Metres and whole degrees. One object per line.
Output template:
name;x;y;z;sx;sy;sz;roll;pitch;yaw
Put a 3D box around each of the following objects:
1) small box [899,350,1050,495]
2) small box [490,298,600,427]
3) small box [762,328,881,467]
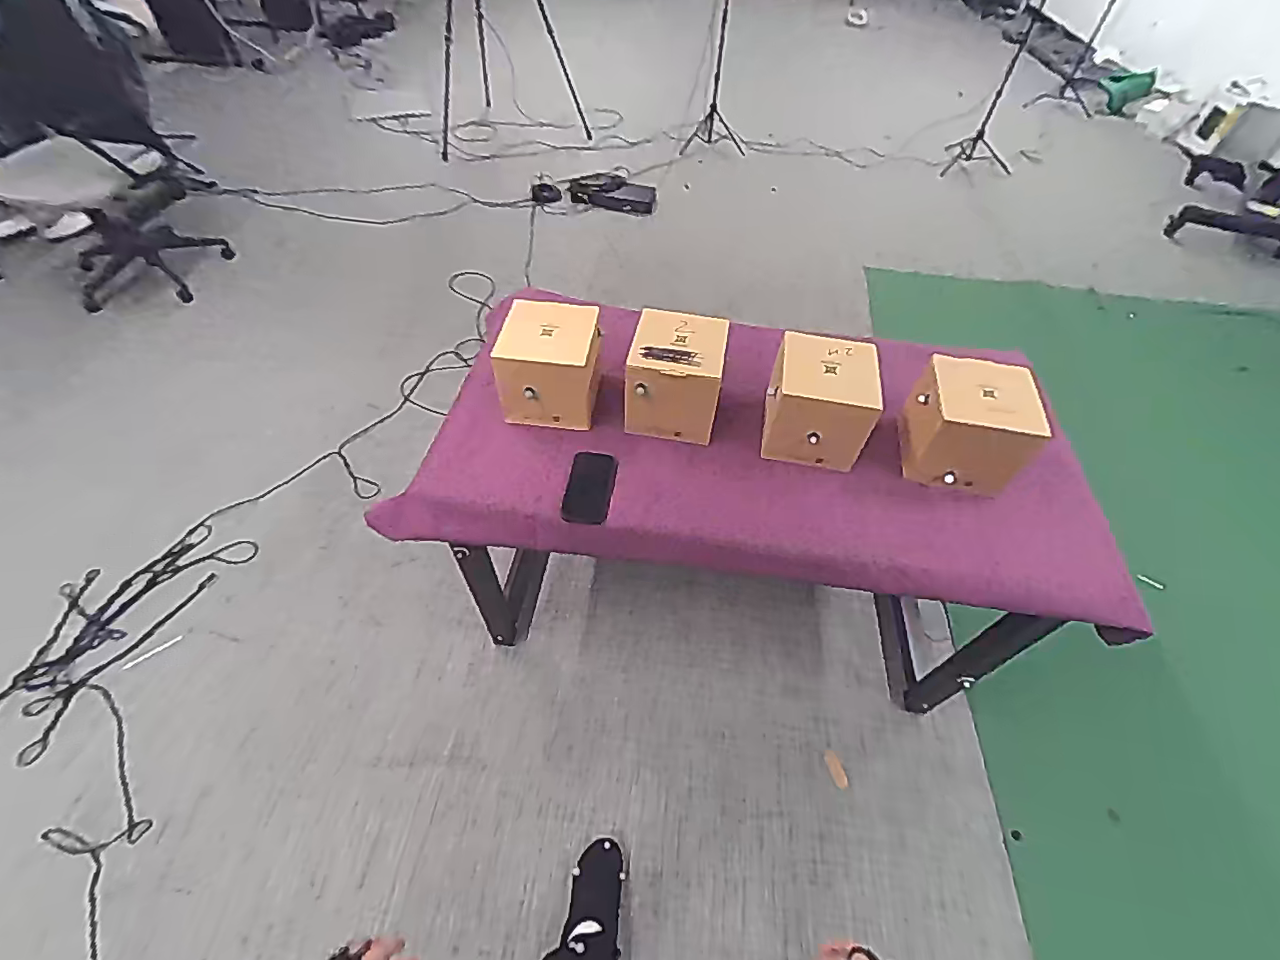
small box;0.581;-0.102;0.970;0.168;0.176;0.179;11;52;7
small box;-0.169;-0.220;1.030;0.168;0.176;0.179;6;51;2
small box;0.325;-0.148;0.993;0.168;0.176;0.179;11;52;5
